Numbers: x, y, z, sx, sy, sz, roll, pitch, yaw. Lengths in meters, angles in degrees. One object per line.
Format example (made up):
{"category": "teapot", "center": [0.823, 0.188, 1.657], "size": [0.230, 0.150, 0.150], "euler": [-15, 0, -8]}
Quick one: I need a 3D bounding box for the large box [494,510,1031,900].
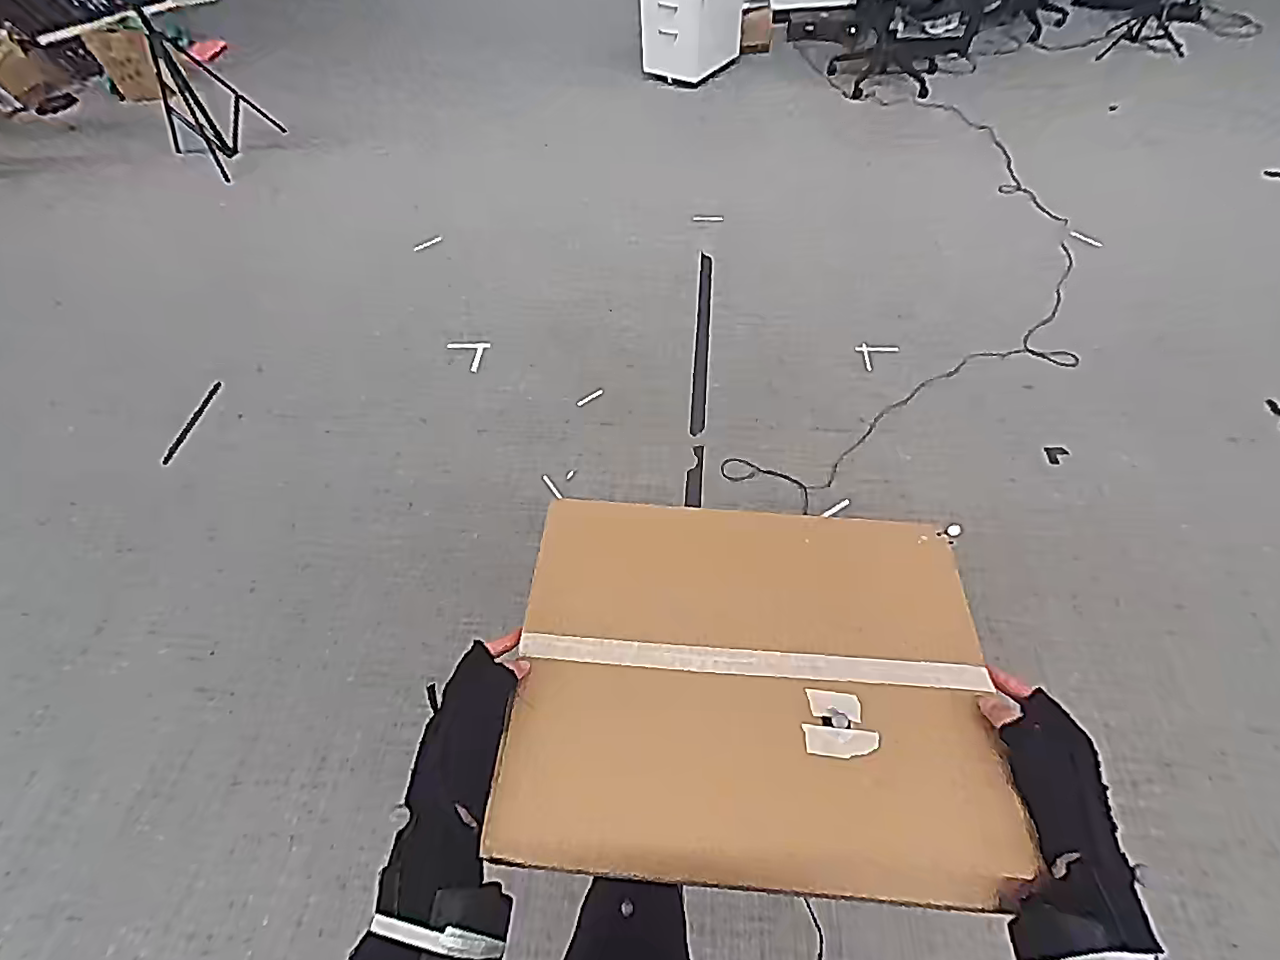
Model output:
{"category": "large box", "center": [0.093, 0.253, 0.601], "size": [0.408, 0.320, 0.320], "euler": [4, 55, 2]}
